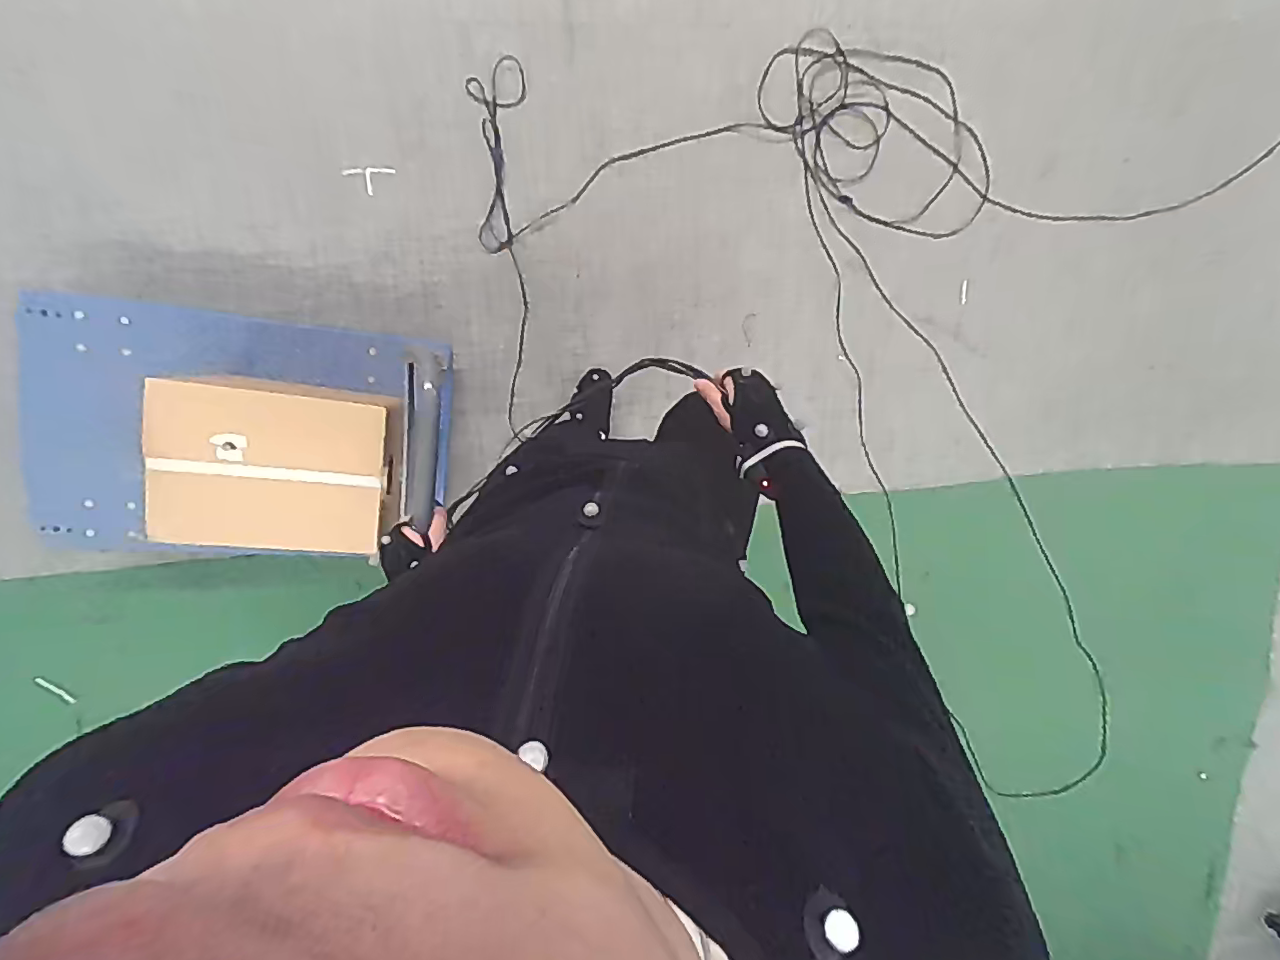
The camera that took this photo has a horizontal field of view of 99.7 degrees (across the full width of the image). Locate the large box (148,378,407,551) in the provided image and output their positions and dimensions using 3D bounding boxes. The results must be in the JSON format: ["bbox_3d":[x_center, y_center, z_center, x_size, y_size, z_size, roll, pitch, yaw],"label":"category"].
[{"bbox_3d":[-0.756,-0.044,1.197,0.408,0.320,0.320,6,99,-16],"label":"large box"}]
